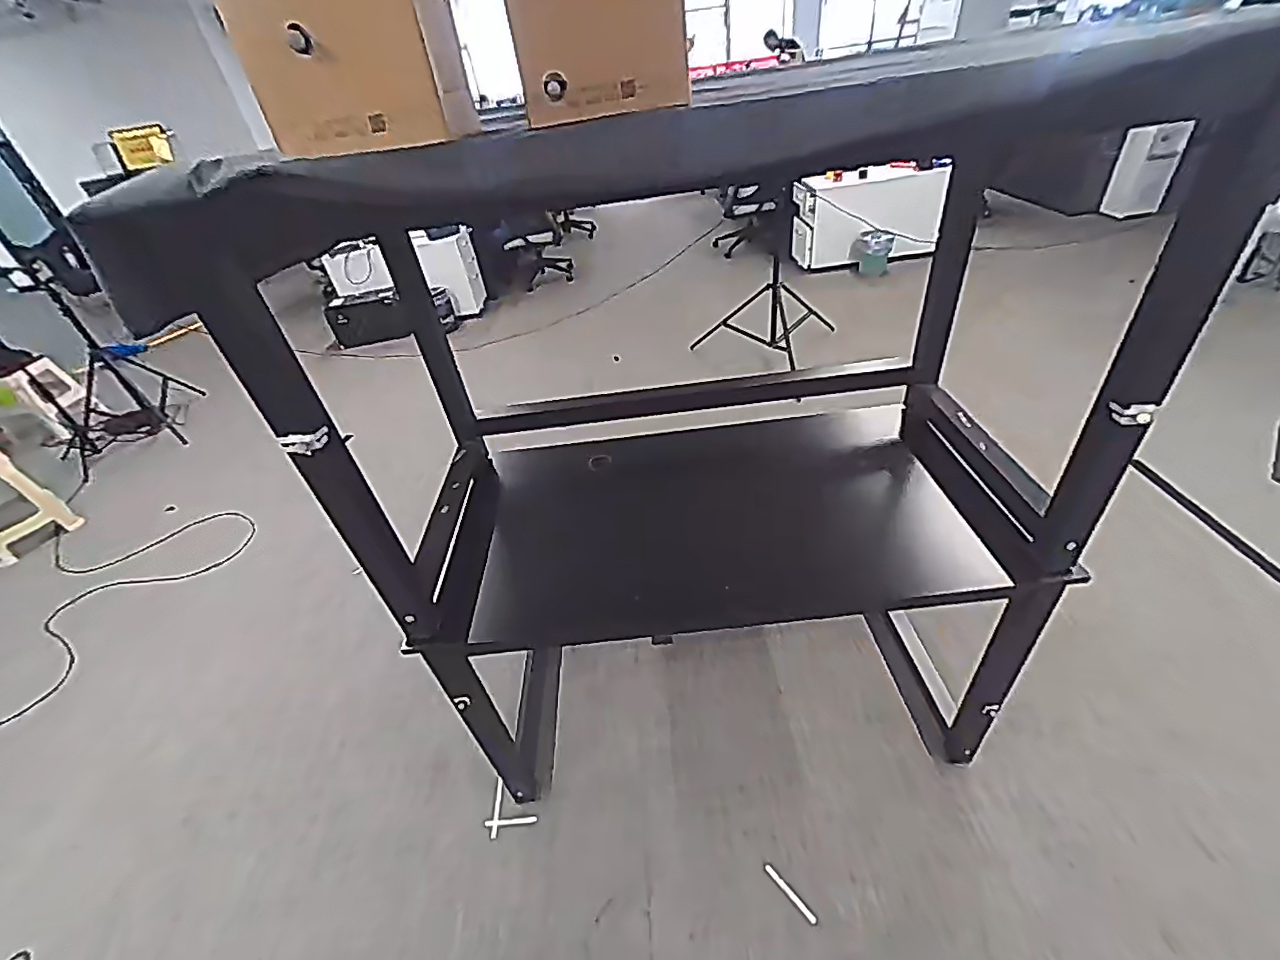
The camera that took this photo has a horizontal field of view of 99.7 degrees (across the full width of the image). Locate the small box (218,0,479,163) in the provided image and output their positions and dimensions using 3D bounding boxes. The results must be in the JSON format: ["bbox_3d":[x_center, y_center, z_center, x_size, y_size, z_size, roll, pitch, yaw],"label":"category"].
[{"bbox_3d":[-0.277,-0.430,0.549,0.168,0.176,0.179,-6,36,1],"label":"small box"}]

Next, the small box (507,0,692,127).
[{"bbox_3d":[-0.037,-0.476,0.560,0.168,0.176,0.179,-6,35,4],"label":"small box"}]
